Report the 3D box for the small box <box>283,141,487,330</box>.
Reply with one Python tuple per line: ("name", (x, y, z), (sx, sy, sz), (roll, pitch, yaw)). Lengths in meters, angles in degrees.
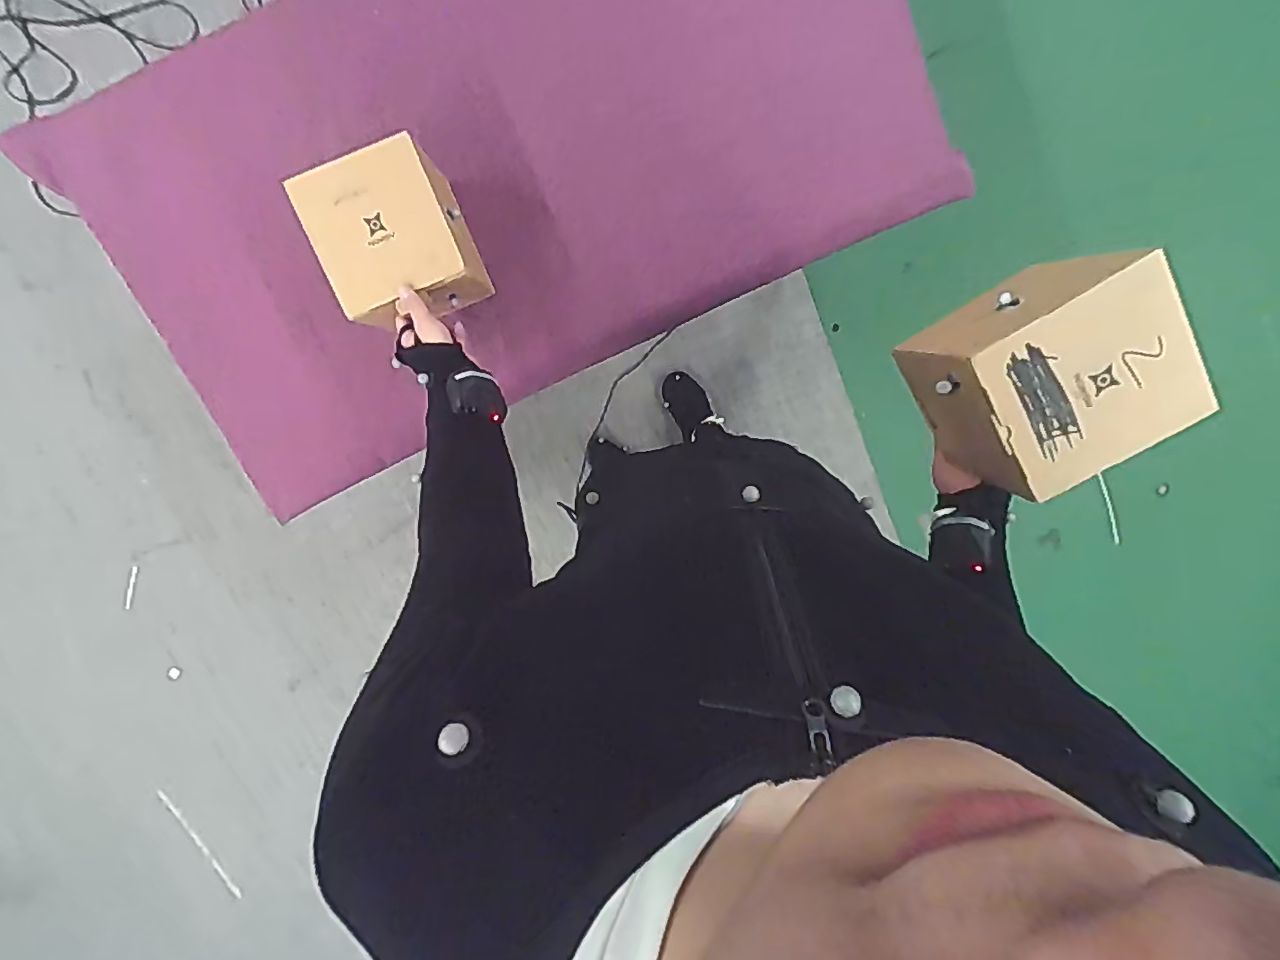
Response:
("small box", (-0.331, -0.317, 0.746), (0.168, 0.176, 0.179), (-22, 100, 0))
